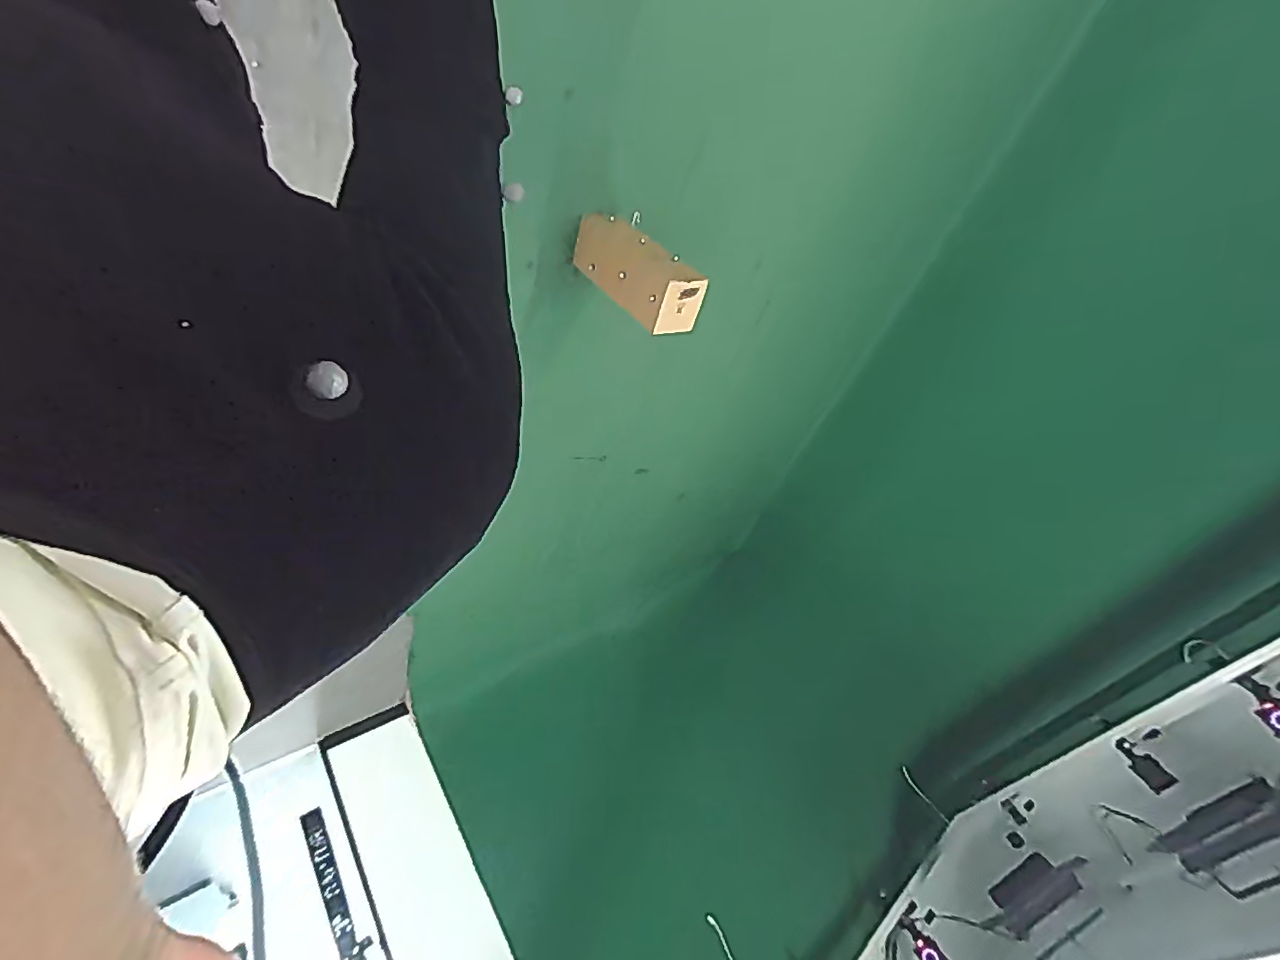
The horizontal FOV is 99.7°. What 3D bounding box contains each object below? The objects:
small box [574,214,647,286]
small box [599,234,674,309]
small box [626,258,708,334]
[{"bbox_3d":[-0.108,-0.790,1.863,0.168,0.176,0.179,-16,142,-37],"label":"small box"},{"bbox_3d":[-0.016,-0.684,1.782,0.168,0.176,0.179,-14,140,-37],"label":"small box"},{"bbox_3d":[0.077,-0.581,1.695,0.168,0.176,0.179,-16,142,-36],"label":"small box"}]
